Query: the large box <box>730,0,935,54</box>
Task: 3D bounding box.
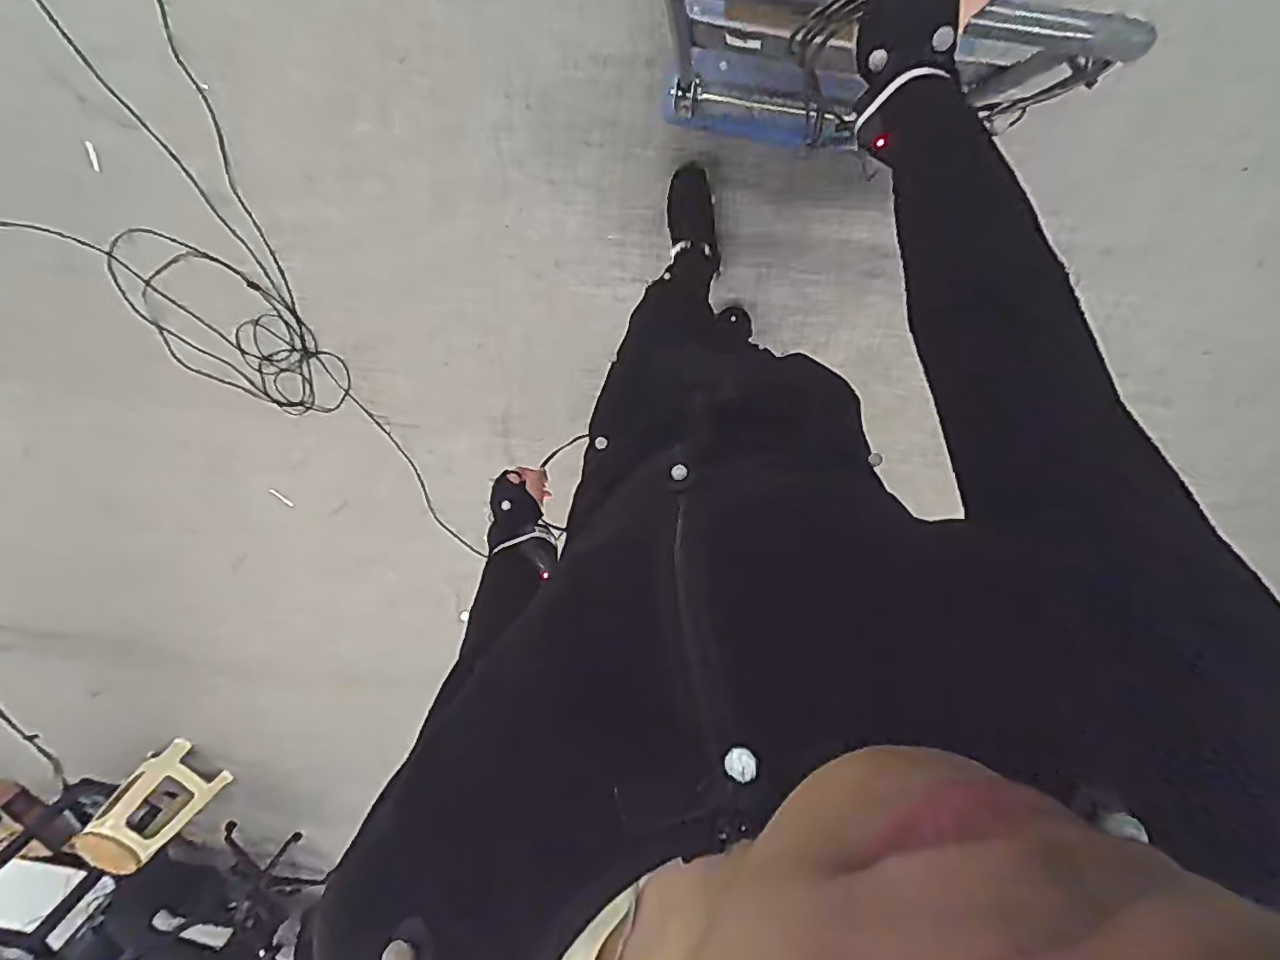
[{"bbox_3d":[0.330,-0.948,0.817,0.320,0.320,0.408,13,117,1],"label":"large box"}]
